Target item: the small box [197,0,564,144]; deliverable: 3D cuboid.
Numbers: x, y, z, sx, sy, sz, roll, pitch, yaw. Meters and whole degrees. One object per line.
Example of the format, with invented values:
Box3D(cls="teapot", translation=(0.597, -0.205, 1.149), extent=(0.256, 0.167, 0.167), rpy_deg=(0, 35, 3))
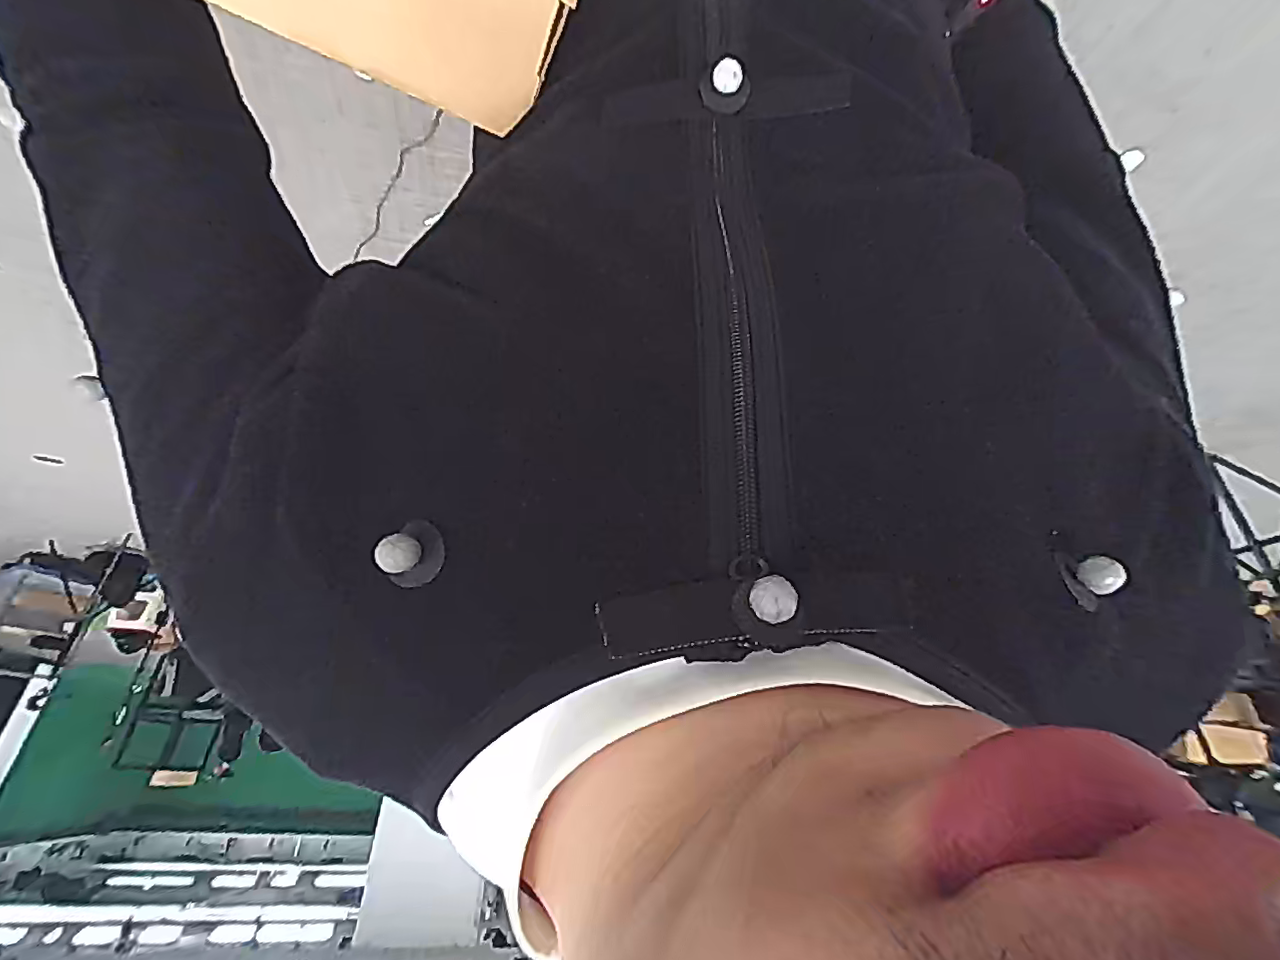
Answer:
Box3D(cls="small box", translation=(-0.125, -0.299, 0.259), extent=(0.179, 0.176, 0.168), rpy_deg=(10, 125, -27))
